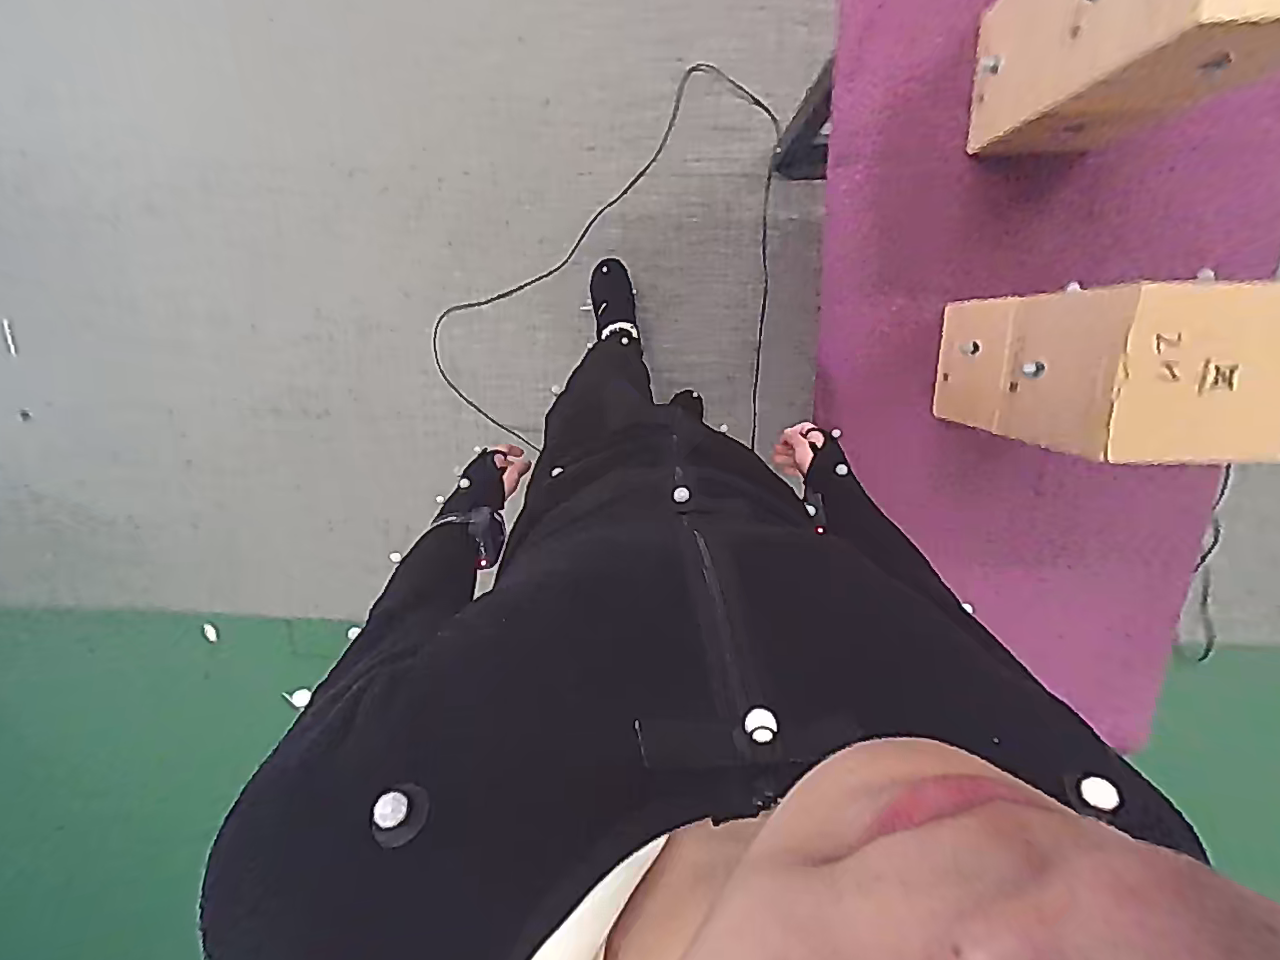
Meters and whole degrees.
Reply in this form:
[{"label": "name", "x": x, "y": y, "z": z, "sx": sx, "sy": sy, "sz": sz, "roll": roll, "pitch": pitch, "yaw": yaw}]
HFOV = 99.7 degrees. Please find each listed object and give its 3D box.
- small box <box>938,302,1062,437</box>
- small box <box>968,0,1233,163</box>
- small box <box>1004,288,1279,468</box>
[{"label": "small box", "x": 0.539, "y": -0.150, "z": 0.740, "sx": 0.179, "sy": 0.176, "sz": 0.168, "roll": -1, "pitch": 103, "yaw": 1}, {"label": "small box", "x": 0.539, "y": -0.500, "z": 0.652, "sx": 0.179, "sy": 0.176, "sz": 0.168, "roll": -1, "pitch": 103, "yaw": 2}, {"label": "small box", "x": 0.541, "y": -0.111, "z": 0.580, "sx": 0.179, "sy": 0.176, "sz": 0.168, "roll": 0, "pitch": 103, "yaw": 1}]
